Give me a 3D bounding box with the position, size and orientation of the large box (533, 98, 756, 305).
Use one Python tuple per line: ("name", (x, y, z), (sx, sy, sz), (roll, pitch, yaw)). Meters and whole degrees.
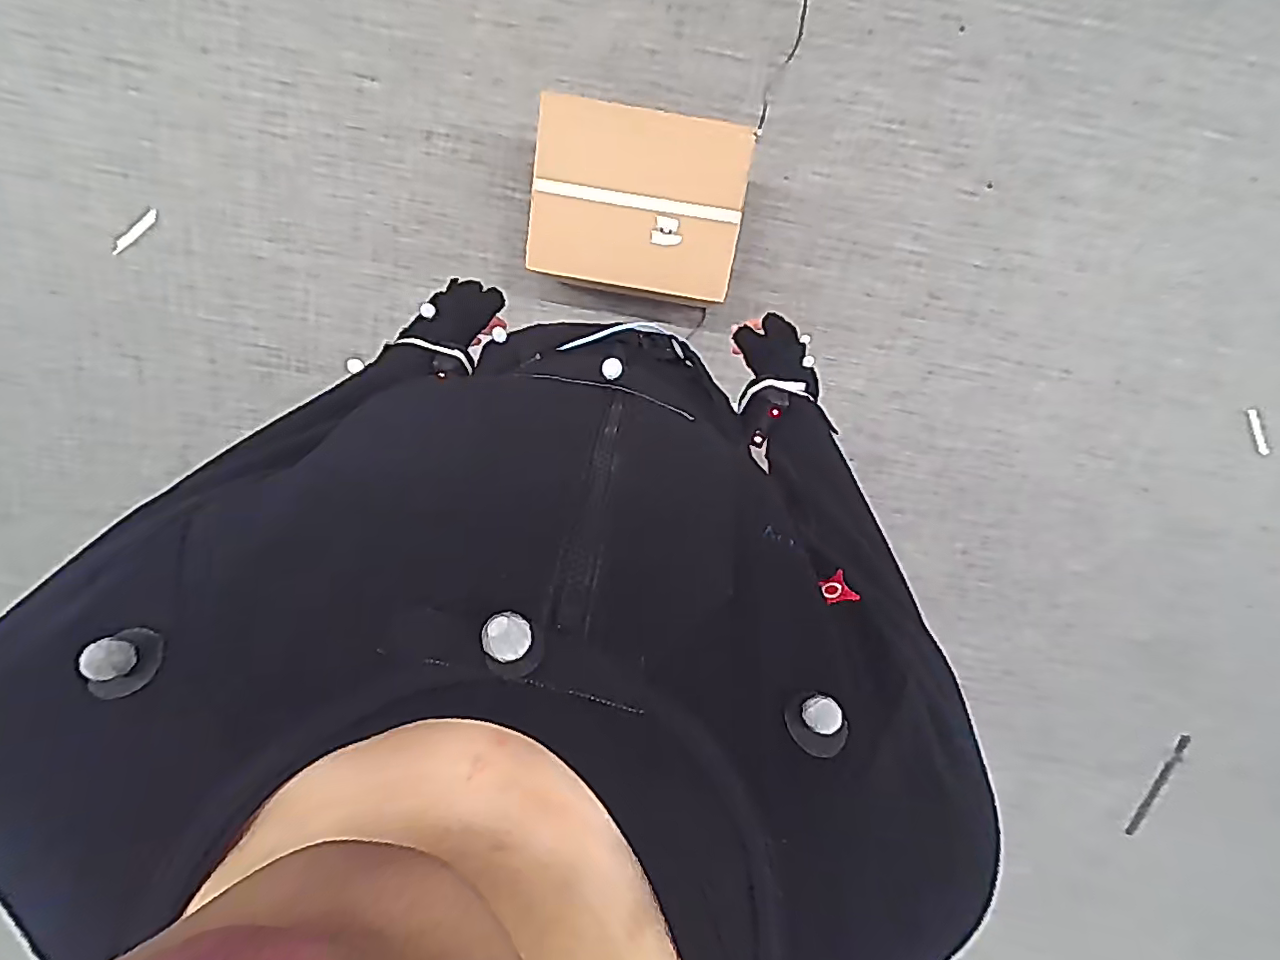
("large box", (0.003, -0.580, 1.195), (0.408, 0.320, 0.320), (9, 107, -1))
